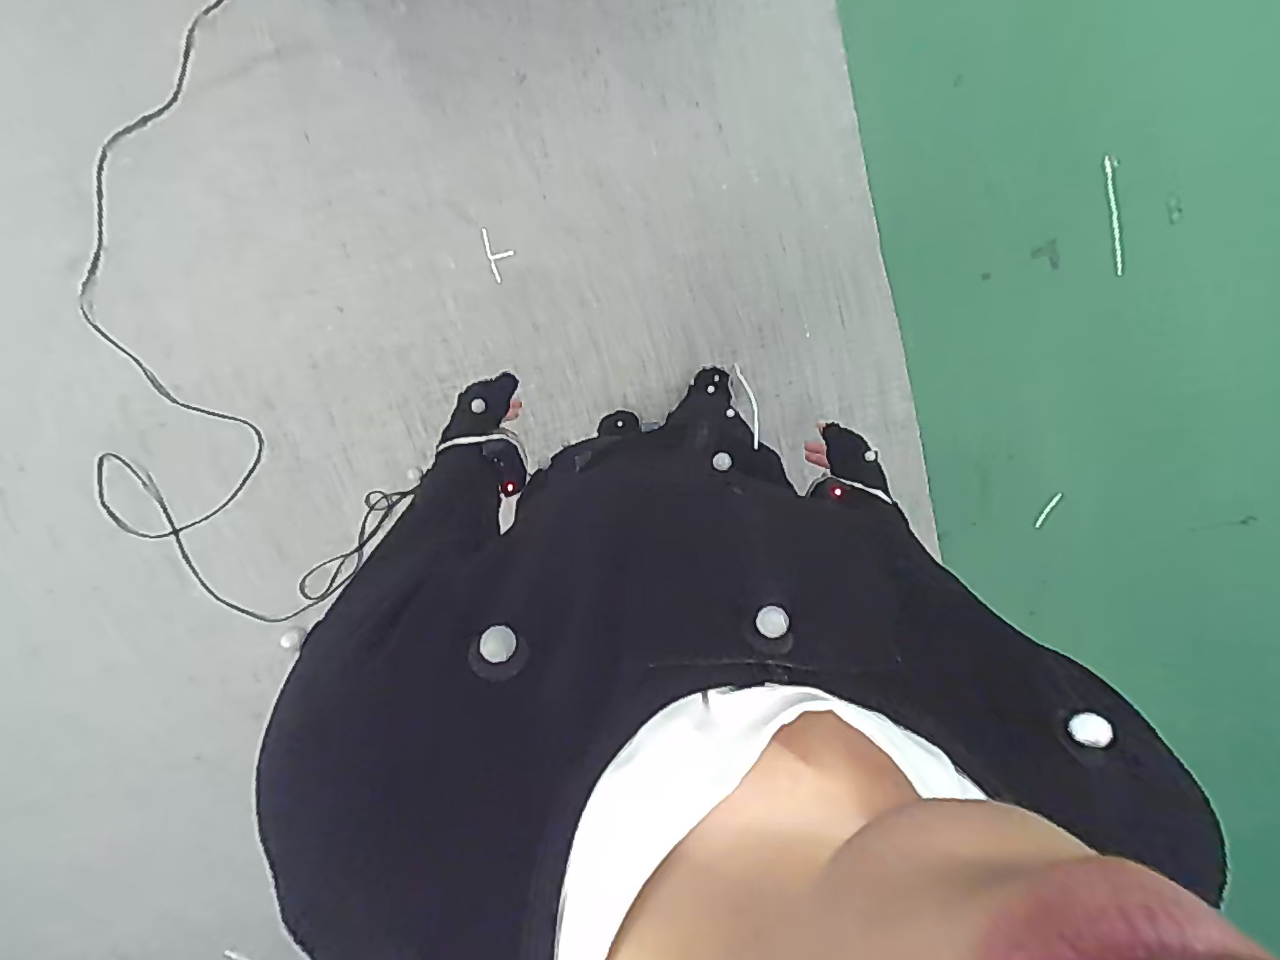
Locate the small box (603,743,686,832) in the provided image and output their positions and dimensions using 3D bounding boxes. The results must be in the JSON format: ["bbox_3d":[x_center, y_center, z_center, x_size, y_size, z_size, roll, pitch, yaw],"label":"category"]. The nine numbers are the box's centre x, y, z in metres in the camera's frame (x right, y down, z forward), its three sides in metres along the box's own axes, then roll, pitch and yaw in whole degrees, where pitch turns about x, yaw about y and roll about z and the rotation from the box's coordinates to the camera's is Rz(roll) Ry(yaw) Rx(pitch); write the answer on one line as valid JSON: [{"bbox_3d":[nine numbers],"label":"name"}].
[{"bbox_3d":[0.005,0.848,1.466,0.168,0.176,0.179,-22,100,-4],"label":"small box"}]
